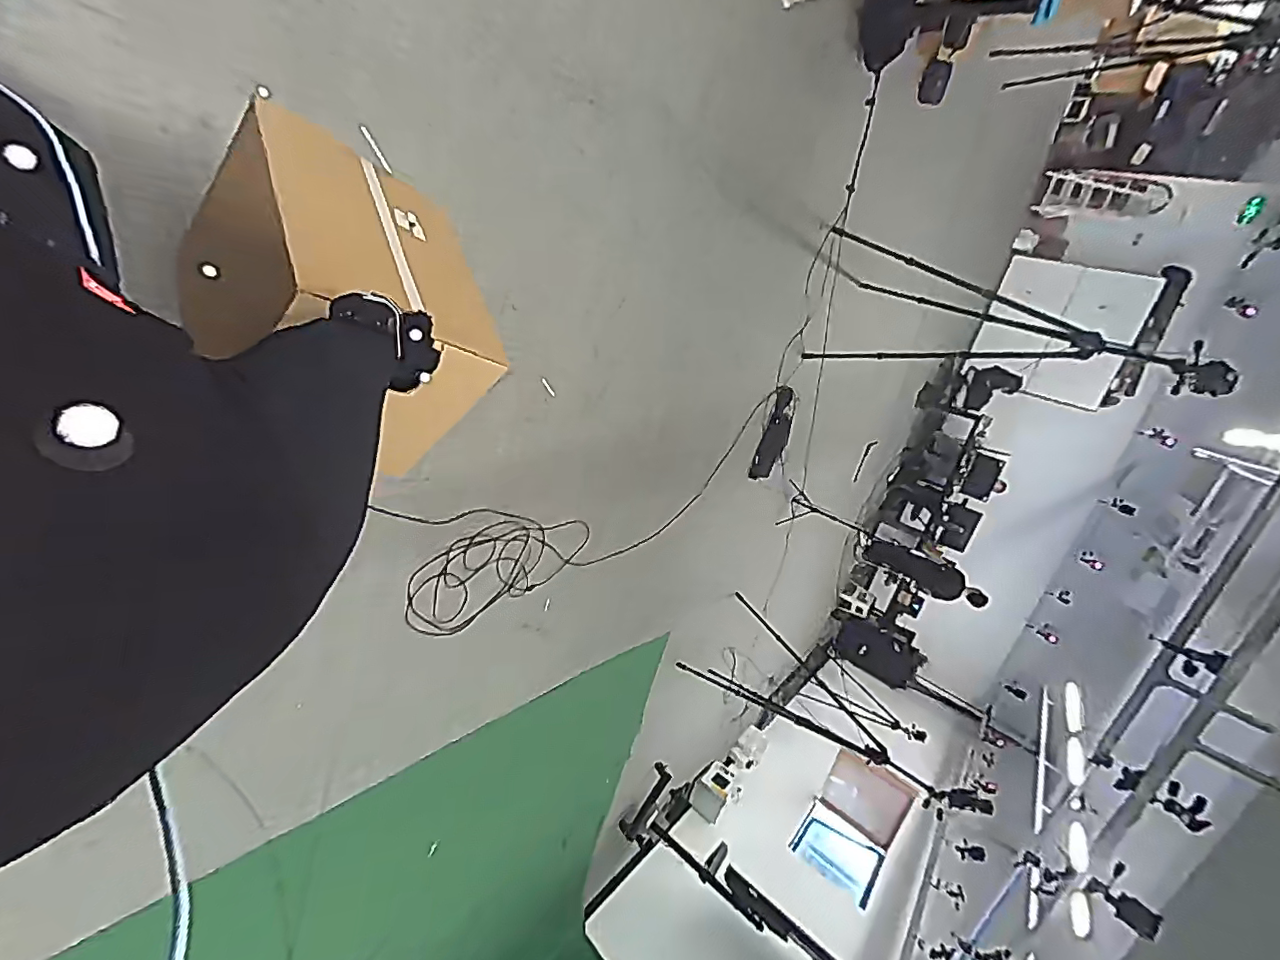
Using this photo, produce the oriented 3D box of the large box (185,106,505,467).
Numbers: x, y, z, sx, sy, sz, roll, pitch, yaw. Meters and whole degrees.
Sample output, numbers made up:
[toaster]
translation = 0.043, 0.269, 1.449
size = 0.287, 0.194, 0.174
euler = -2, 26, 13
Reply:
[large box]
translation = -0.488, -0.274, 0.882
size = 0.320, 0.408, 0.320
euler = -38, 154, 25
